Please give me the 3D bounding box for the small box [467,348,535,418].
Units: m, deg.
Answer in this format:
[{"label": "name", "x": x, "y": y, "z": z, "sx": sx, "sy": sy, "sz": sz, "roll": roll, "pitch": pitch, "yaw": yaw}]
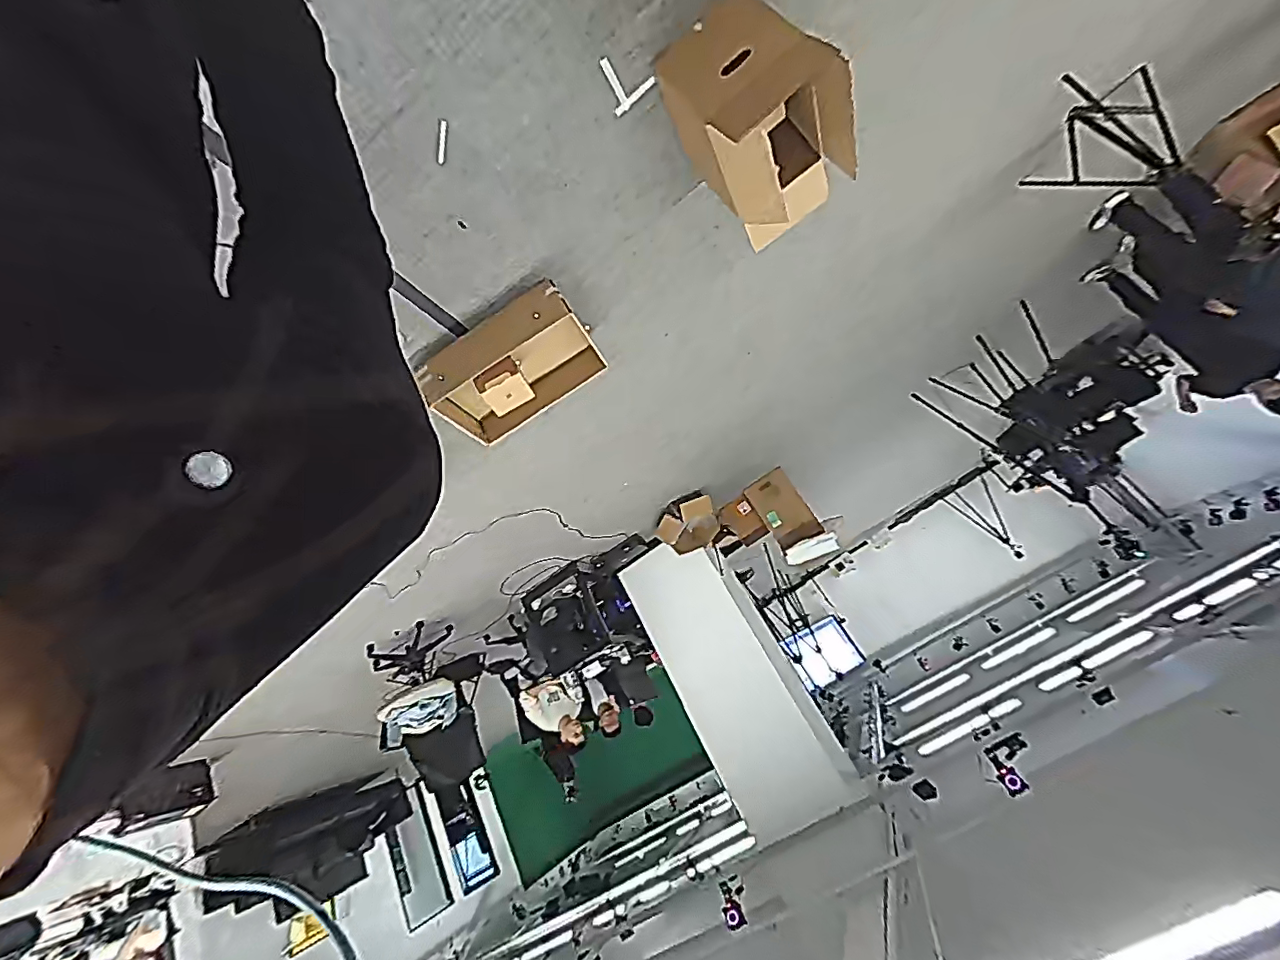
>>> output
[{"label": "small box", "x": -0.527, "y": -0.375, "z": 2.046, "sx": 0.168, "sy": 0.176, "sz": 0.179, "roll": -30, "pitch": 156, "yaw": -2}]
